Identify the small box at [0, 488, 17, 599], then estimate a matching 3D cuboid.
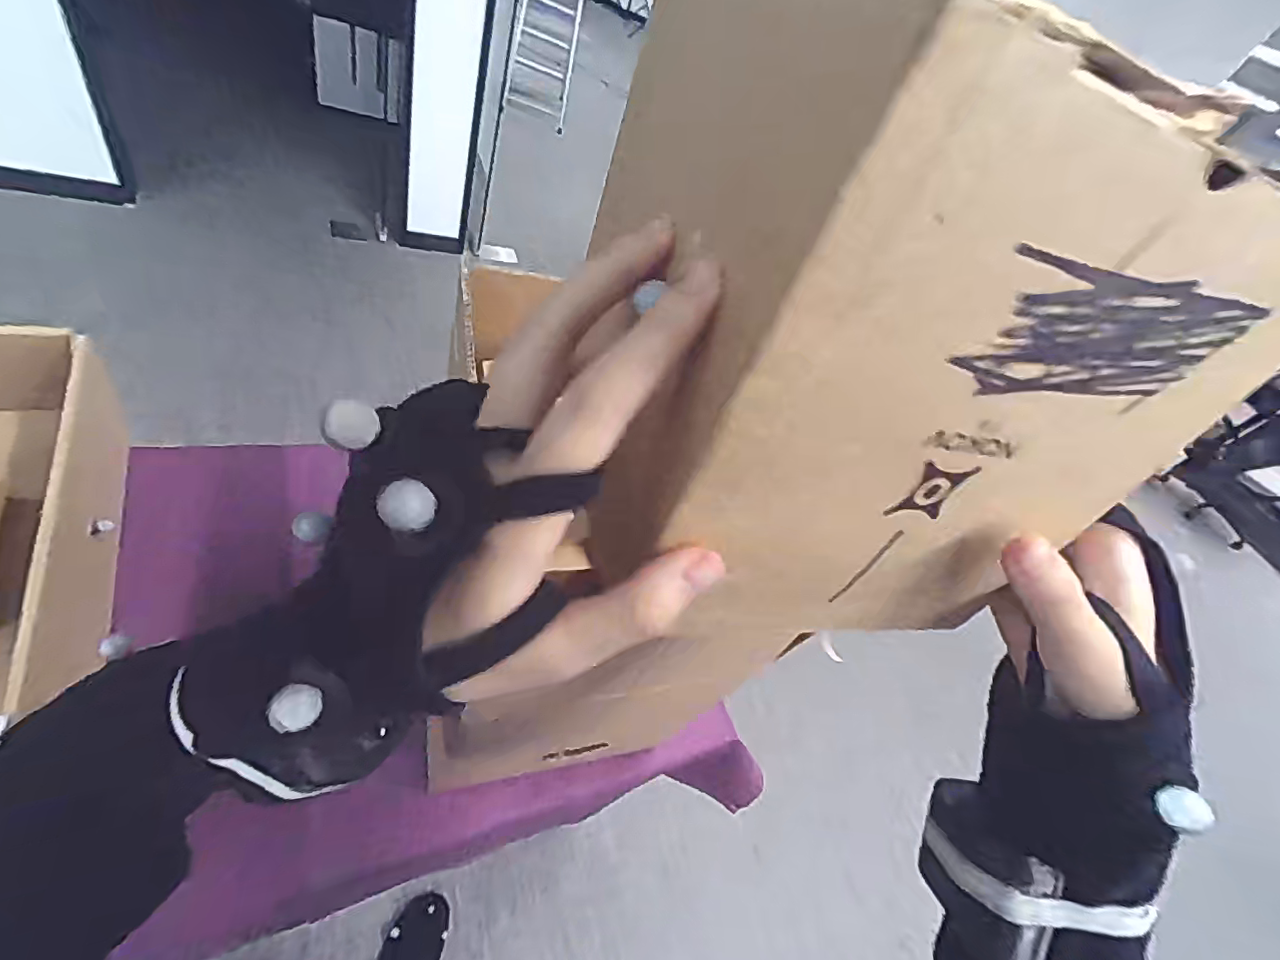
[{"bbox_3d":[-0.733,0.050,0.494,0.168,0.176,0.179,-9,58,-30],"label":"small box"}]
